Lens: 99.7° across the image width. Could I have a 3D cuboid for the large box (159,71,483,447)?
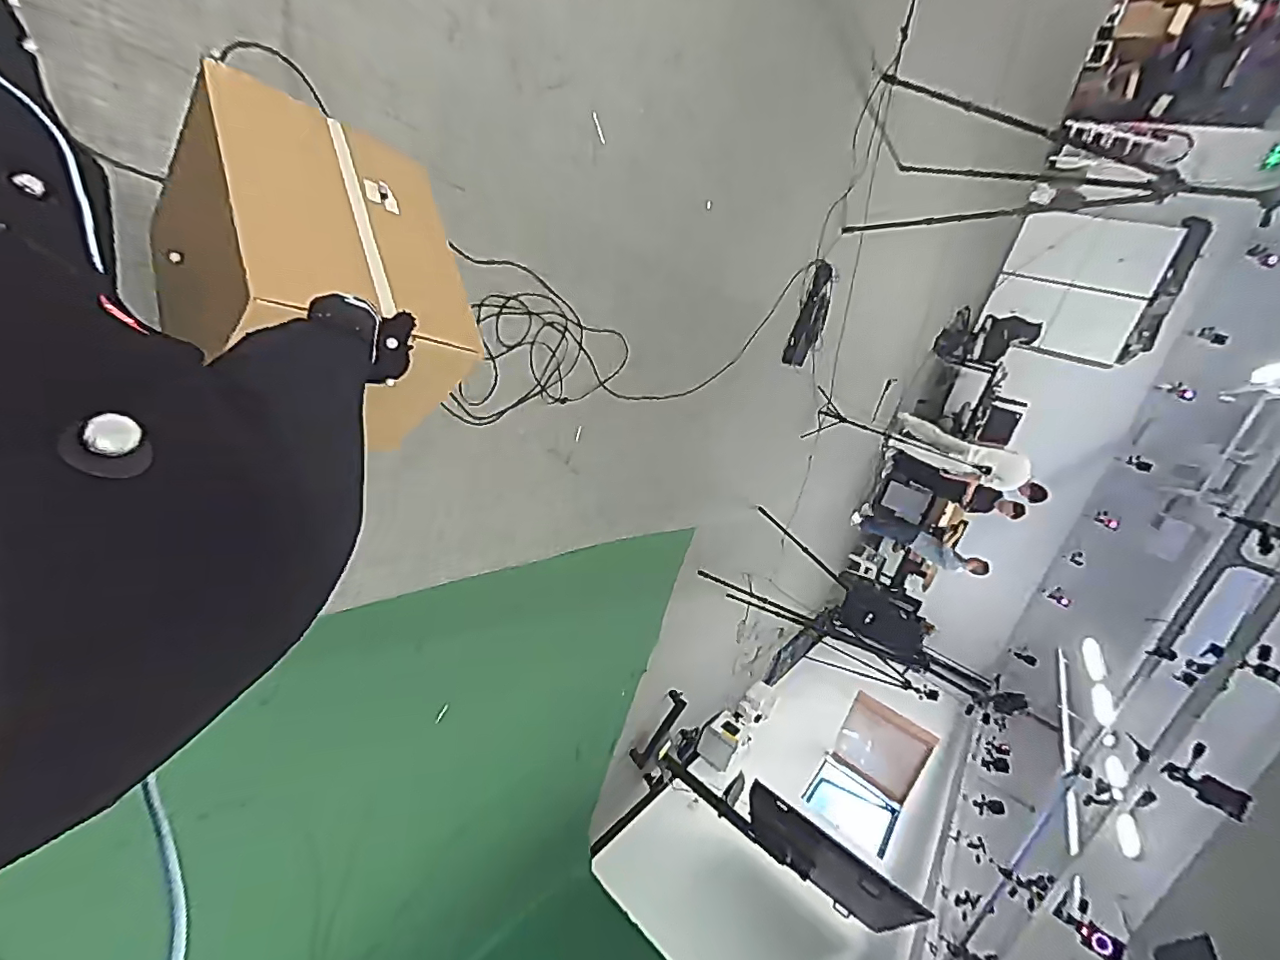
[{"bbox_3d":[-0.513,-0.299,0.859,0.320,0.408,0.320,-34,160,31],"label":"large box"}]
